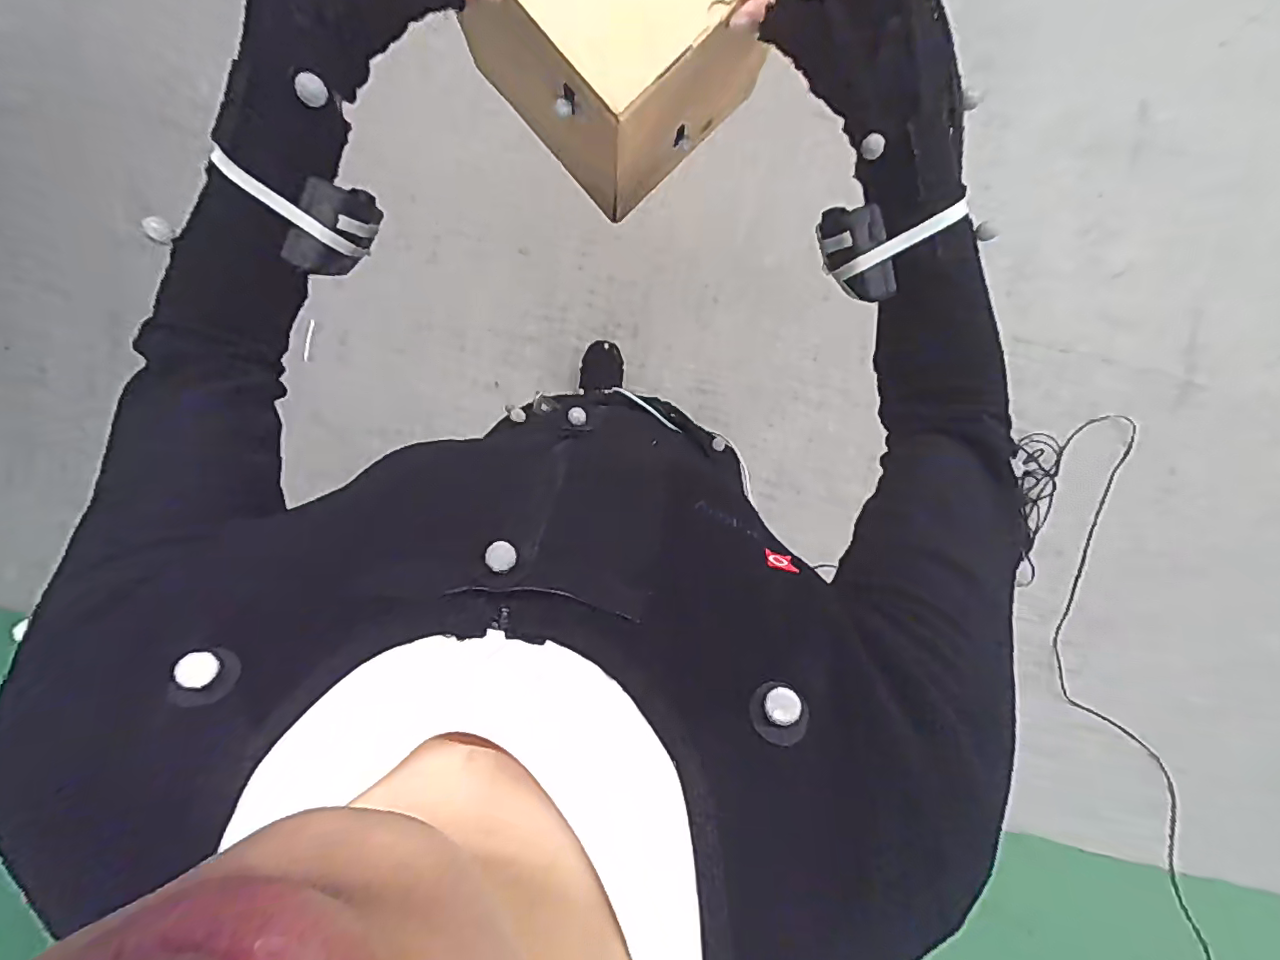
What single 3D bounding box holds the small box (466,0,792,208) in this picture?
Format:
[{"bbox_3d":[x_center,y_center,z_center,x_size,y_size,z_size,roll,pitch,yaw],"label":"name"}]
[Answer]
[{"bbox_3d":[-0.015,-0.339,0.387,0.168,0.176,0.179,-43,98,2],"label":"small box"}]
